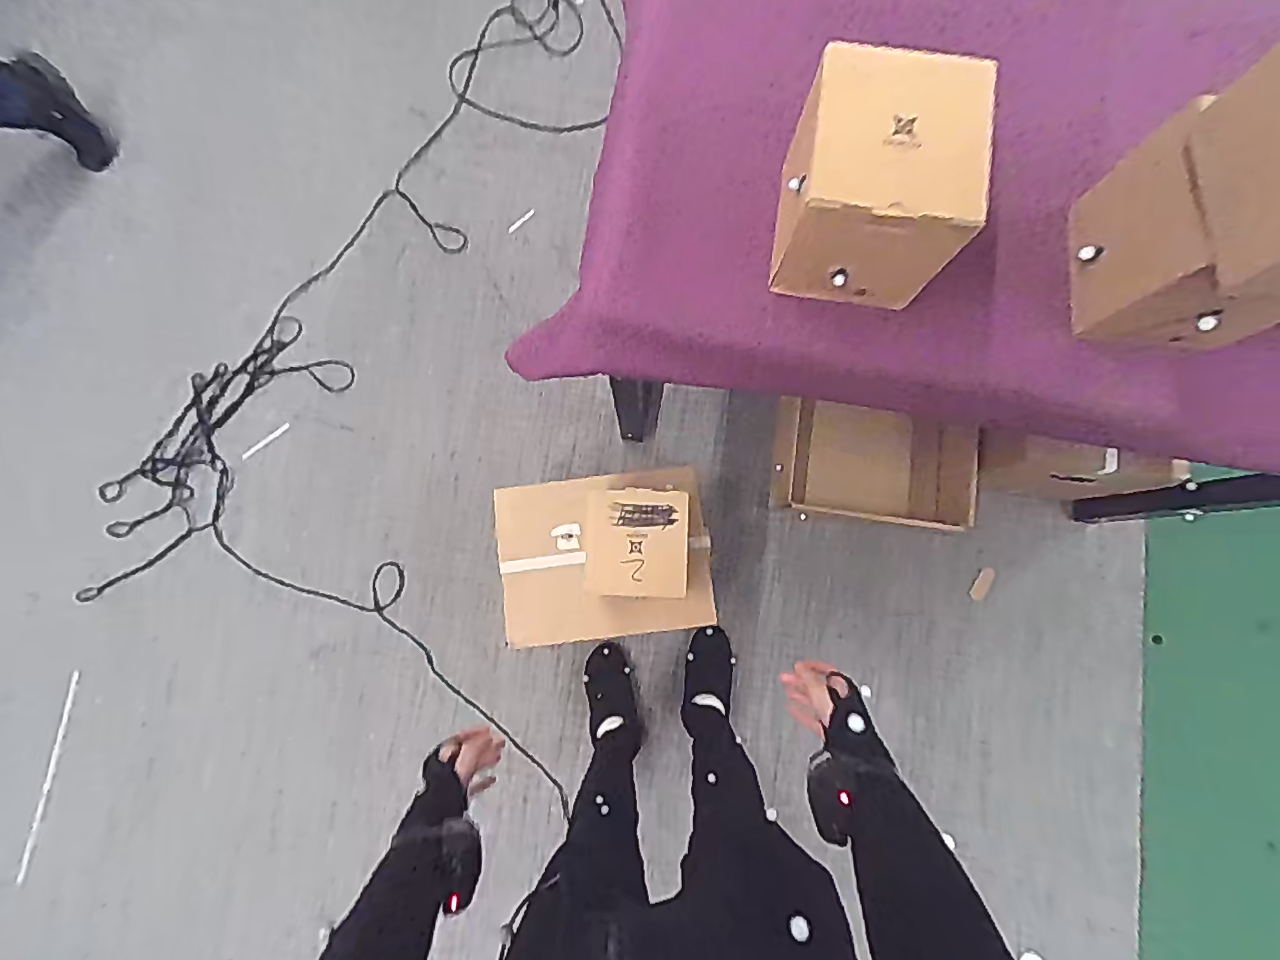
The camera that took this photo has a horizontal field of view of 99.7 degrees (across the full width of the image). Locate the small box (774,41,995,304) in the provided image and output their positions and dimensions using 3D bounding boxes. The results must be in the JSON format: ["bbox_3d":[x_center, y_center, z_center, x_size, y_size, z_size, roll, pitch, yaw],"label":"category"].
[{"bbox_3d":[0.253,-0.322,0.595,0.168,0.176,0.179,8,82,2],"label":"small box"}]

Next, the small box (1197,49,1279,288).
[{"bbox_3d":[0.590,-0.269,0.411,0.168,0.176,0.179,-1,80,2],"label":"small box"}]

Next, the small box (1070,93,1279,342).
[{"bbox_3d":[0.603,-0.263,0.577,0.168,0.176,0.179,6,81,2],"label":"small box"}]
